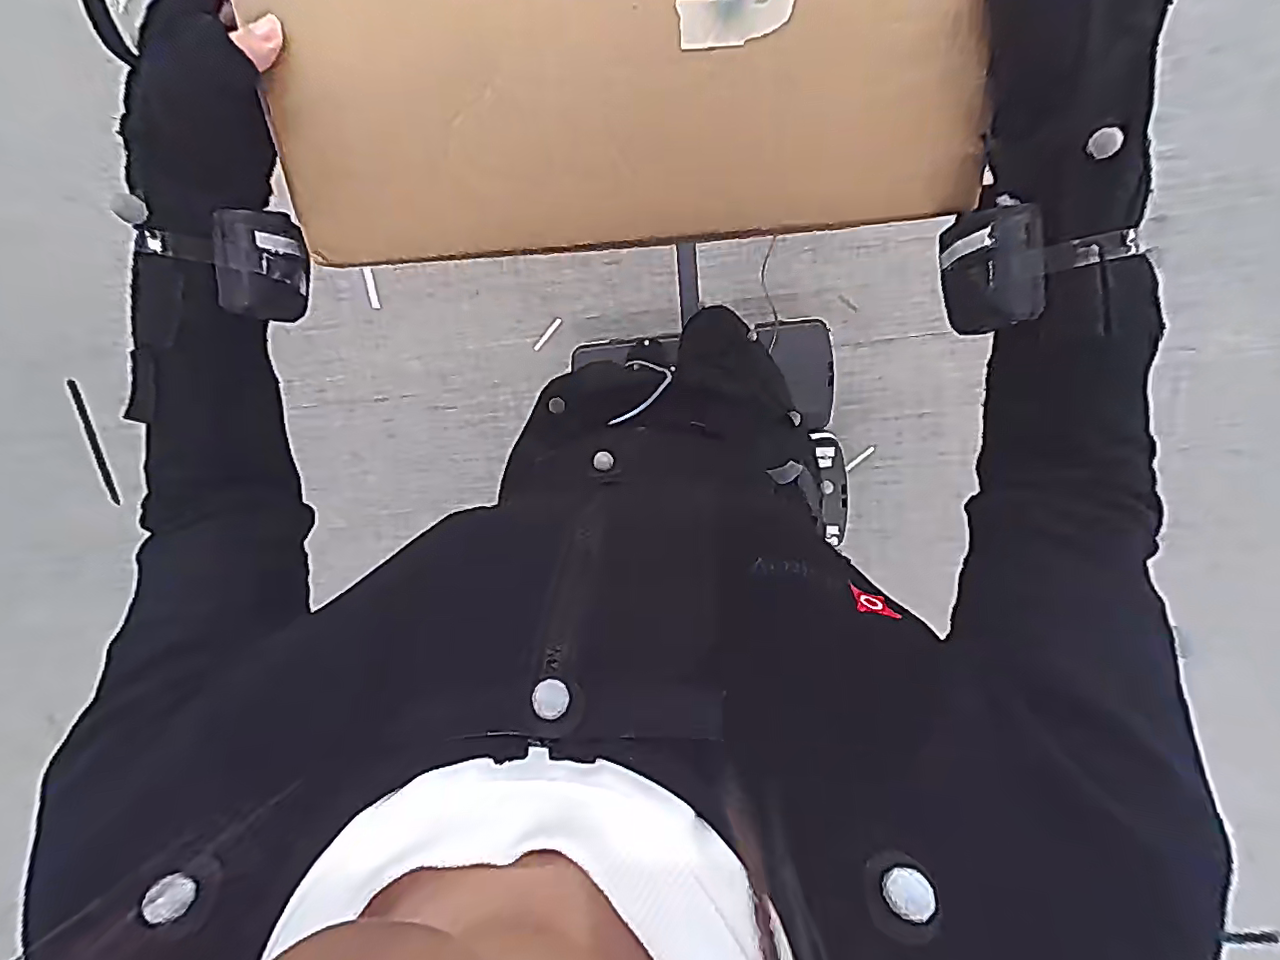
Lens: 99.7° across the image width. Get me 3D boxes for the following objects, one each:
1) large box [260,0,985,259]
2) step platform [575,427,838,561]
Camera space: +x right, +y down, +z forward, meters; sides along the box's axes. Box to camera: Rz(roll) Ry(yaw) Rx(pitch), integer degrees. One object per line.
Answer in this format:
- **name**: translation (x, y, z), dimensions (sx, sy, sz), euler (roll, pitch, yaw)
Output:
- **large box**: translation (-0.010, -0.358, 0.416), dimensions (0.408, 0.320, 0.320), euler (-3, 114, 6)
- **step platform**: translation (0.170, 0.040, 1.450), dimensions (0.684, 0.204, 0.286), euler (-5, 103, 8)
